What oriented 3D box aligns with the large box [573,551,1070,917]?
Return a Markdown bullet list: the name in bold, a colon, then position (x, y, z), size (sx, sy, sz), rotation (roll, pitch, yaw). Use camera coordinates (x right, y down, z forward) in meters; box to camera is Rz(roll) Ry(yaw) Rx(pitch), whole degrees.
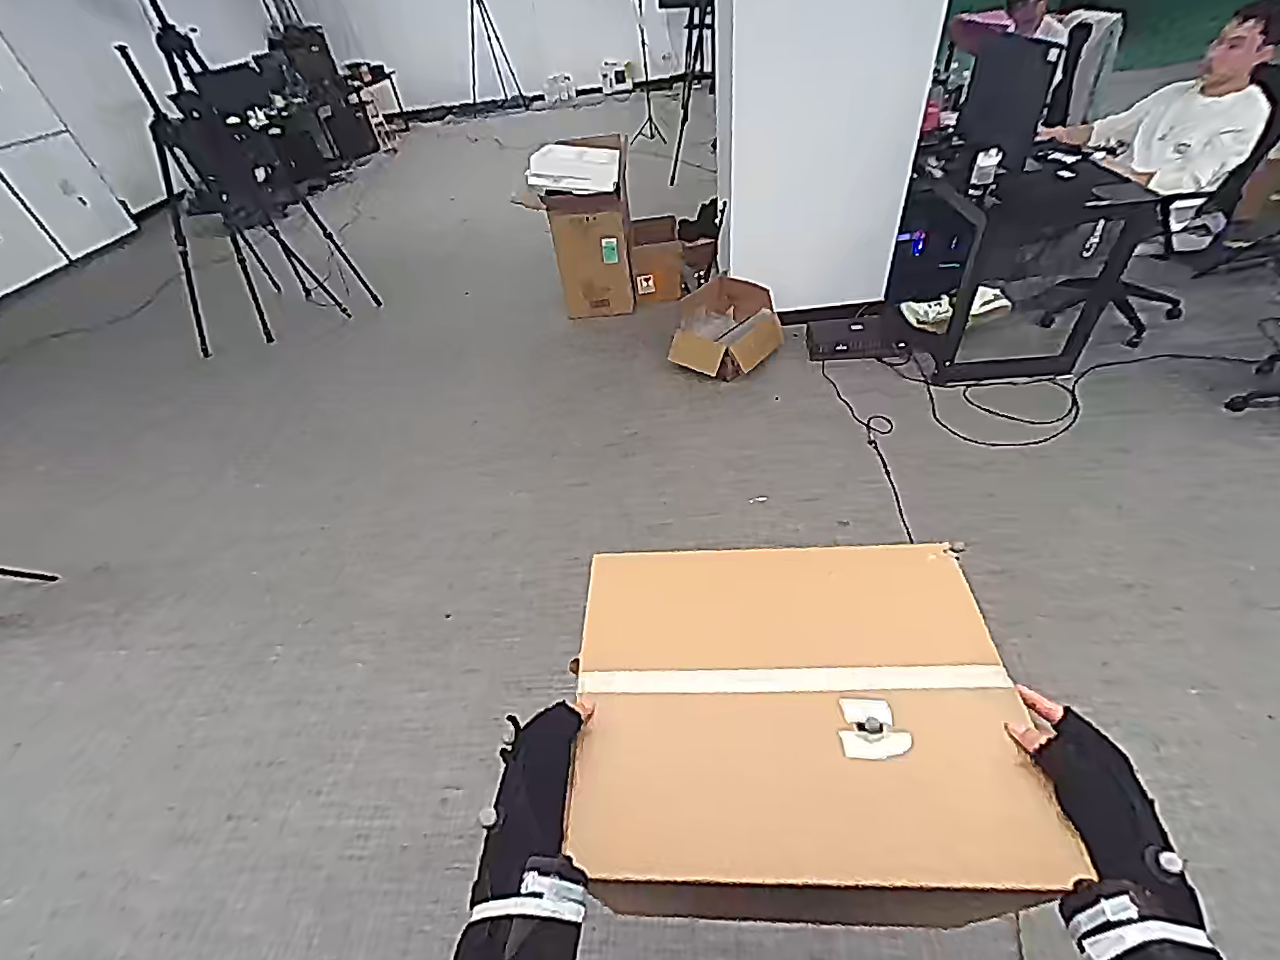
- **large box**: position (0.155, 0.306, 0.642), size (0.408, 0.320, 0.320), rotation (-3, 47, 5)
